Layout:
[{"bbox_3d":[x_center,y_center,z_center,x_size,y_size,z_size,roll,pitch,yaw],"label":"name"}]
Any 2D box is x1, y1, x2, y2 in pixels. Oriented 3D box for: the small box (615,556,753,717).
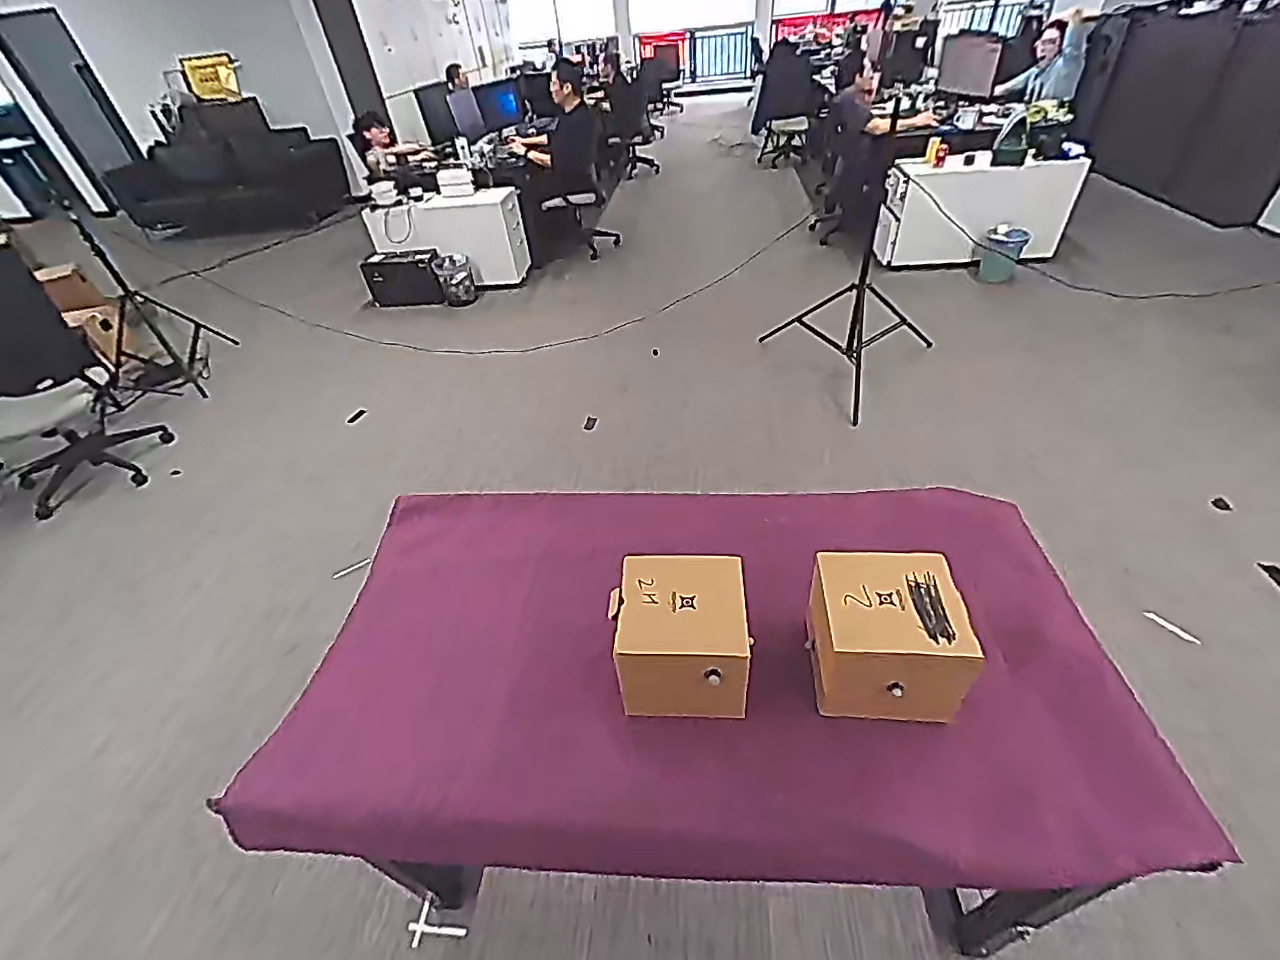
[{"bbox_3d":[0.066,0.230,0.794,0.179,0.176,0.168,-2,40,6],"label":"small box"}]
